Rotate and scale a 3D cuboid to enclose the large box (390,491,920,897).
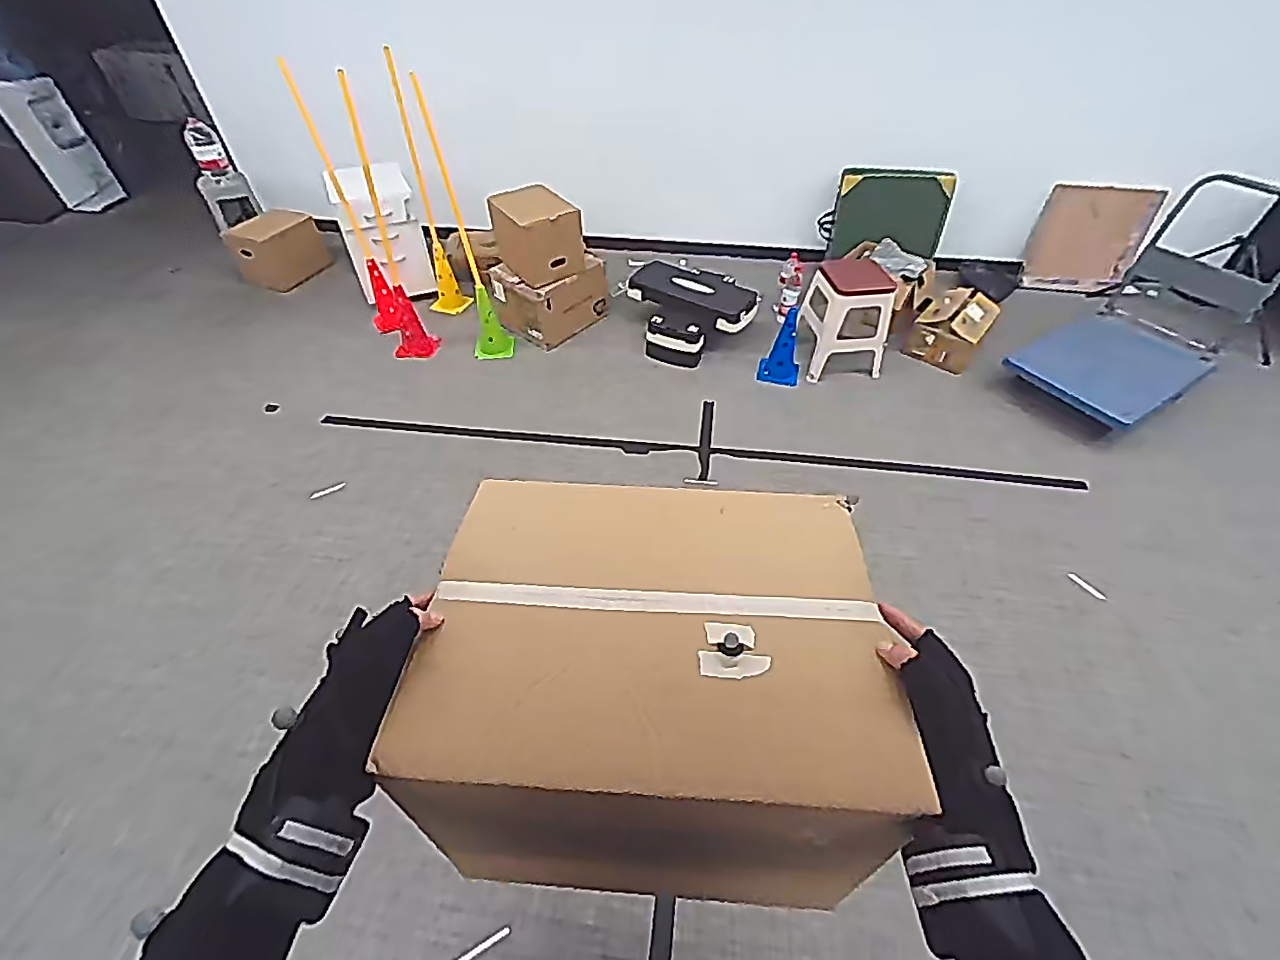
[{"bbox_3d":[0.014,0.232,0.606,0.408,0.320,0.320,3,43,3],"label":"large box"}]
